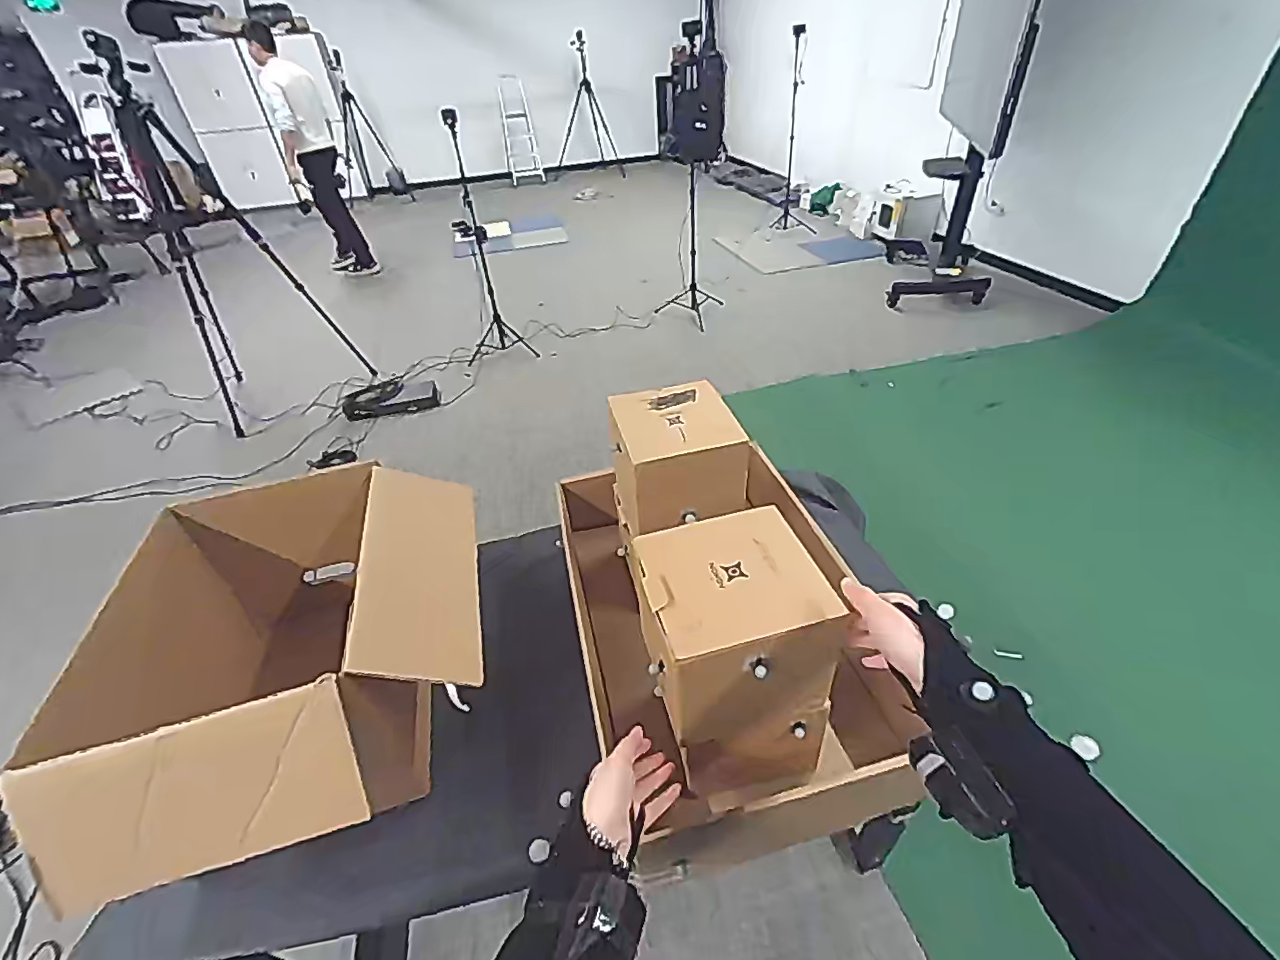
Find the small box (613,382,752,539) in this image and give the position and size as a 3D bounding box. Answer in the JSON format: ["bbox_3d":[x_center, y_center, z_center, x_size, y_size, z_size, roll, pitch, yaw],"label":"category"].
[{"bbox_3d":[0.058,-0.026,0.833,0.168,0.176,0.179,-12,41,-8],"label":"small box"}]

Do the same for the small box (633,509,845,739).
[{"bbox_3d":[0.100,0.162,0.608,0.179,0.176,0.168,-12,40,-9],"label":"small box"}]
